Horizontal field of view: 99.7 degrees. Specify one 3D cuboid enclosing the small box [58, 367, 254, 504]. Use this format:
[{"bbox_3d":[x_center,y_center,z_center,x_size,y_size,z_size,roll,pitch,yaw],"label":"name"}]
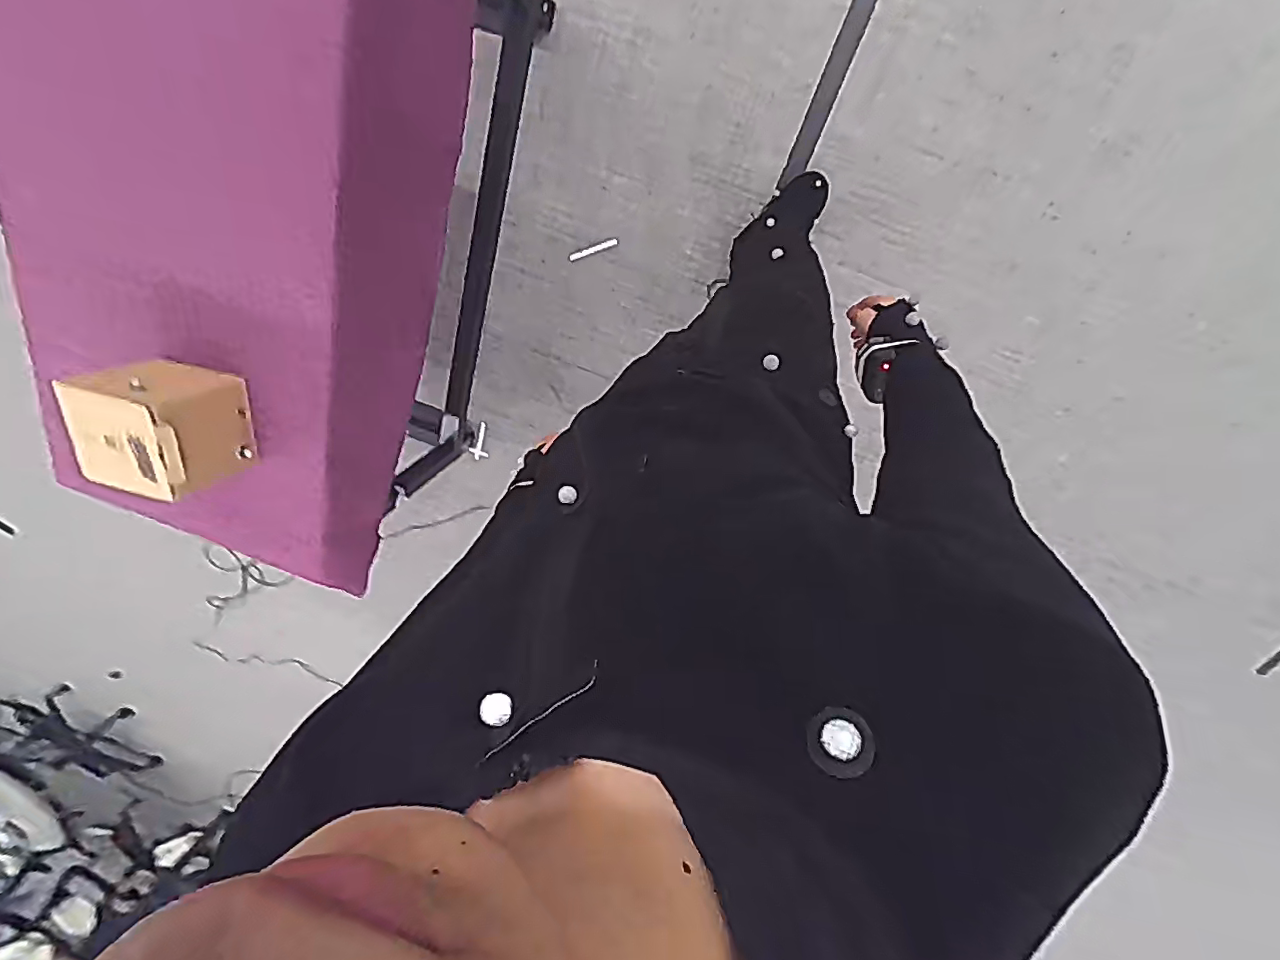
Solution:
[{"bbox_3d":[-0.795,-0.083,0.915,0.179,0.176,0.168,12,116,7],"label":"small box"}]
